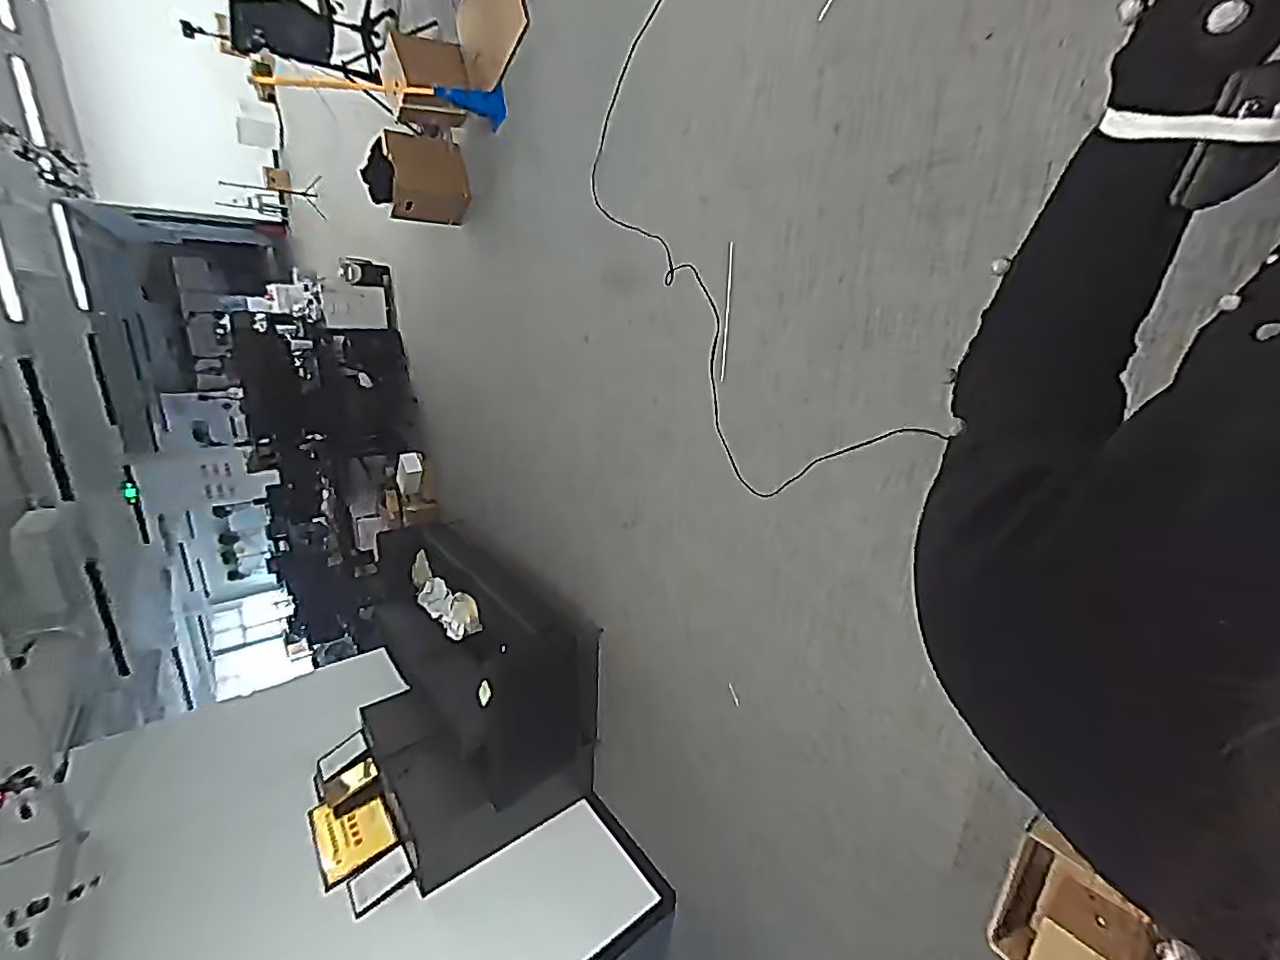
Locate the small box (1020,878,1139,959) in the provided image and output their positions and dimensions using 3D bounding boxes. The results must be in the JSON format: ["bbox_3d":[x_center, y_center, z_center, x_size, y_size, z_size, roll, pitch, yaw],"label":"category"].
[{"bbox_3d":[1.038,1.104,1.276,0.168,0.176,0.179,23,116,48],"label":"small box"}]
